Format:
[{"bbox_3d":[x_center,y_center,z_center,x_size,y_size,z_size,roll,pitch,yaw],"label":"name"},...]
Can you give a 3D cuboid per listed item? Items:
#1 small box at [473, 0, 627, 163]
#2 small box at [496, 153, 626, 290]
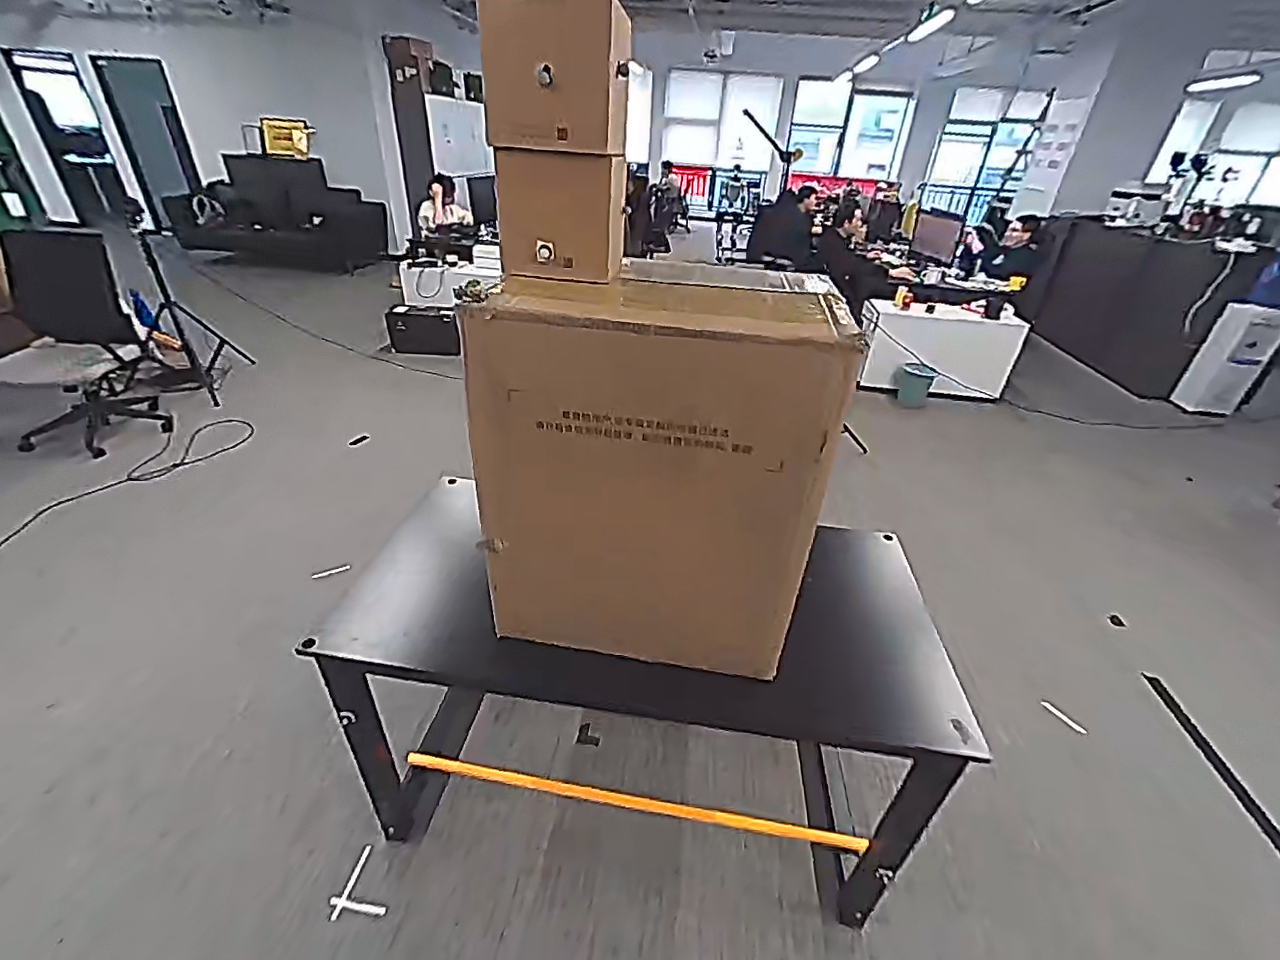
[{"bbox_3d":[-0.110,-0.537,0.742,0.168,0.176,0.179,6,32,3],"label":"small box"},{"bbox_3d":[-0.114,-0.404,0.840,0.168,0.176,0.179,4,32,2],"label":"small box"}]
